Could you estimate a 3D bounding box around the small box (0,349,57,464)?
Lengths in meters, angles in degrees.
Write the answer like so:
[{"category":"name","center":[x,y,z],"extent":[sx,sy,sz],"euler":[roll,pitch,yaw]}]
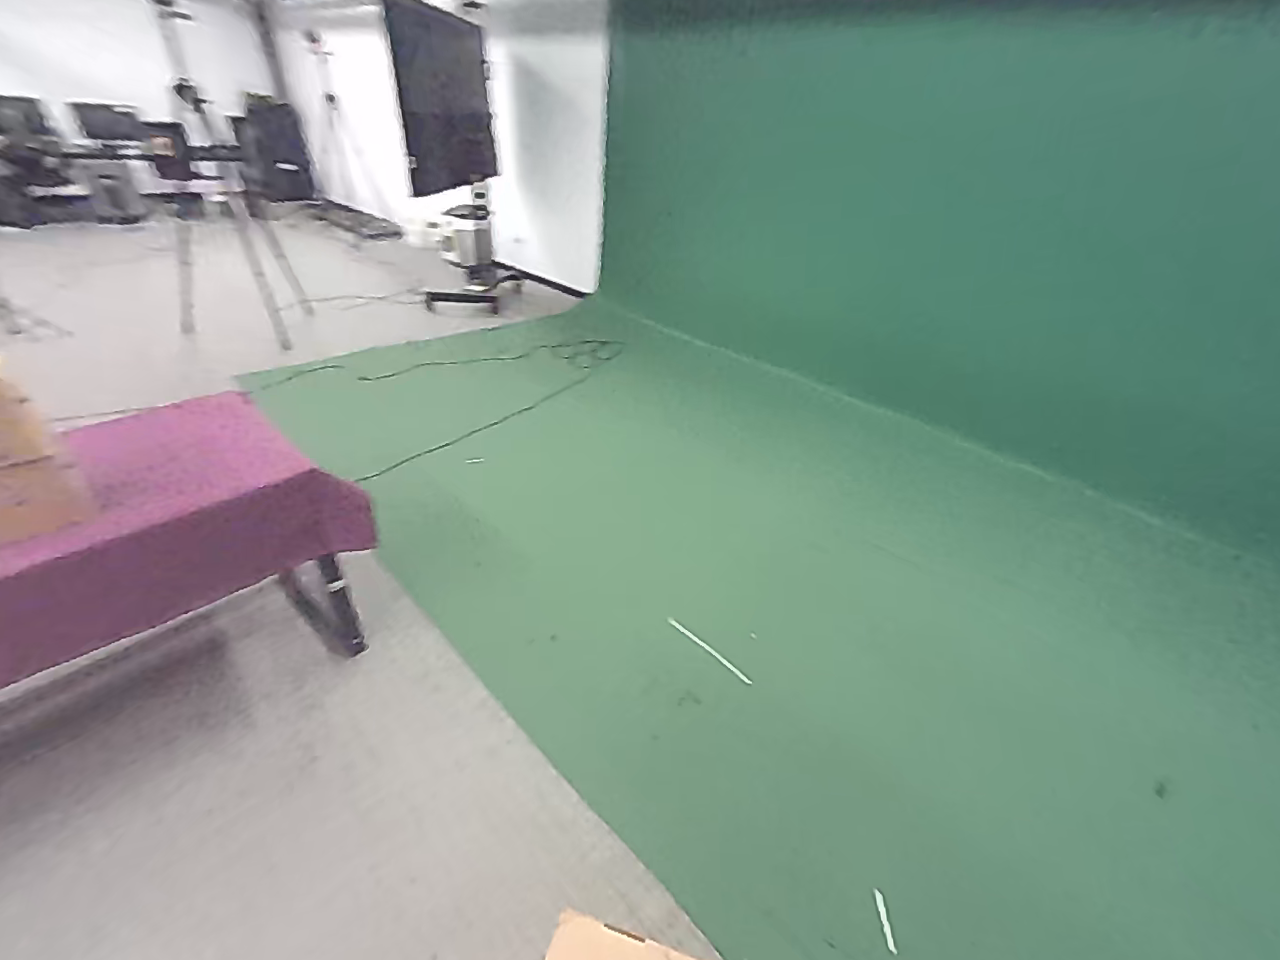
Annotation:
[{"category":"small box","center":[-1.288,-0.132,1.052],"extent":[0.168,0.176,0.179],"euler":[-24,44,-36]}]
